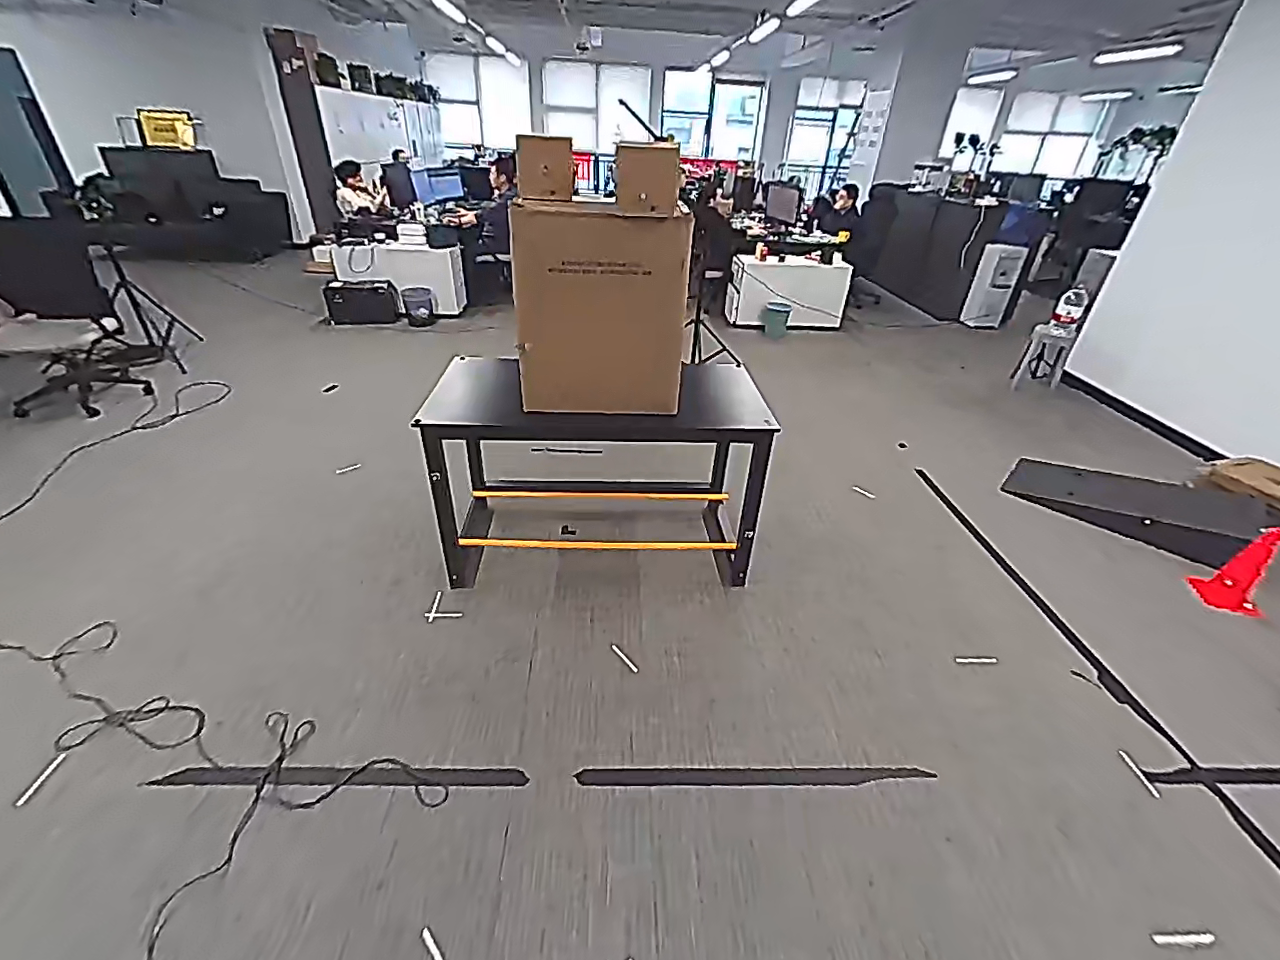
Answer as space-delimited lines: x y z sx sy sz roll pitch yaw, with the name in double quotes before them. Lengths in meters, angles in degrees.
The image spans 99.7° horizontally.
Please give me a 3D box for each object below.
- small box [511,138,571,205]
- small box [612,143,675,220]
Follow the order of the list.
"small box" -0.298 -0.949 1.662 0.168 0.176 0.179 -2 32 -7
"small box" 0.012 -0.832 1.504 0.168 0.176 0.179 1 36 2
